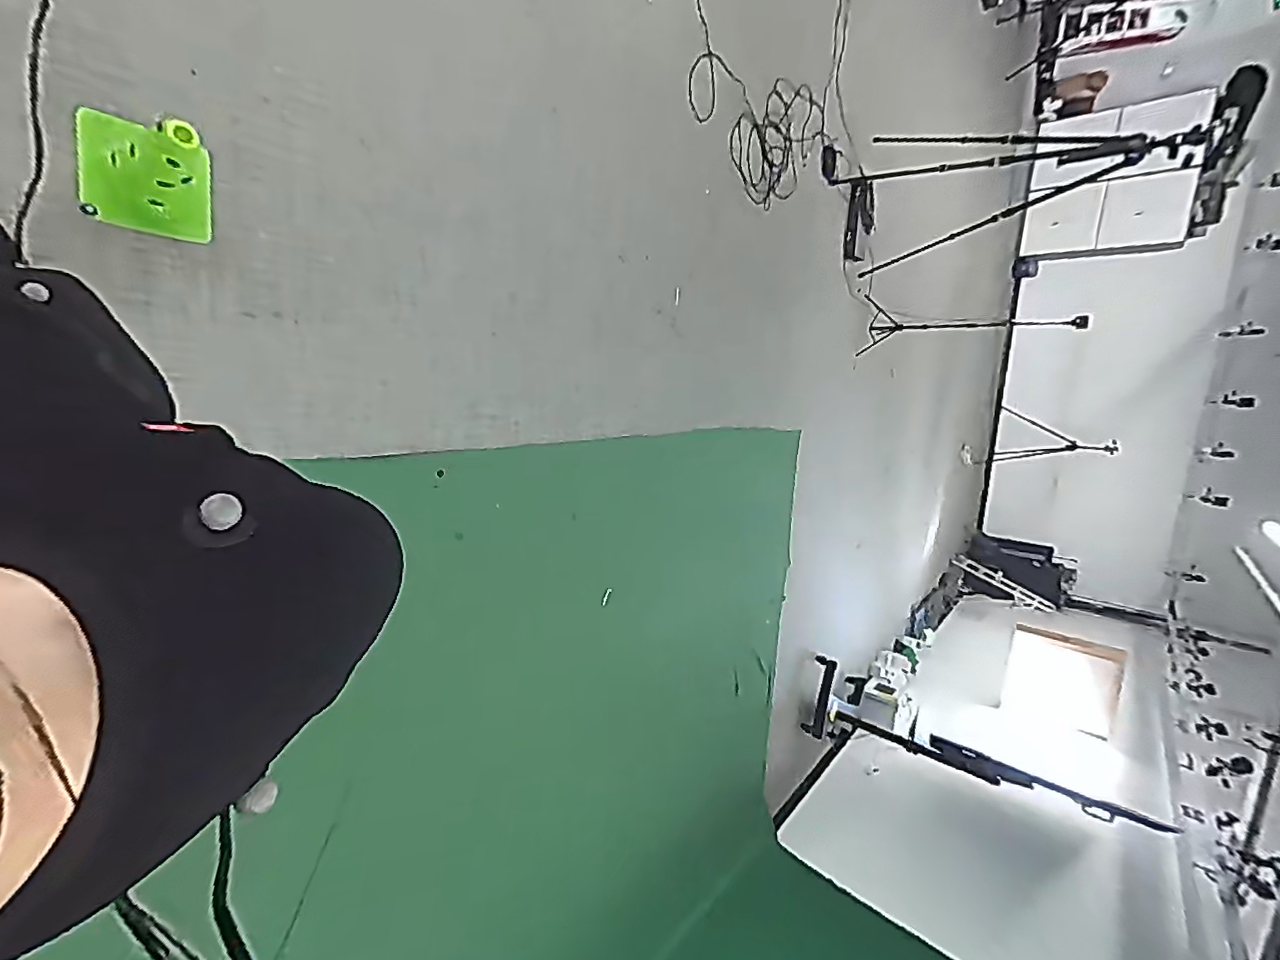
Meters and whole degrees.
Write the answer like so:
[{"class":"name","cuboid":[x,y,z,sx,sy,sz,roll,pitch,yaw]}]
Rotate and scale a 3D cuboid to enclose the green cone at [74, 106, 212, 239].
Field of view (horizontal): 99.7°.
[{"class":"green cone","cuboid":[-0.858,-0.585,0.974,0.200,0.368,0.202,-6,102,-49]}]
